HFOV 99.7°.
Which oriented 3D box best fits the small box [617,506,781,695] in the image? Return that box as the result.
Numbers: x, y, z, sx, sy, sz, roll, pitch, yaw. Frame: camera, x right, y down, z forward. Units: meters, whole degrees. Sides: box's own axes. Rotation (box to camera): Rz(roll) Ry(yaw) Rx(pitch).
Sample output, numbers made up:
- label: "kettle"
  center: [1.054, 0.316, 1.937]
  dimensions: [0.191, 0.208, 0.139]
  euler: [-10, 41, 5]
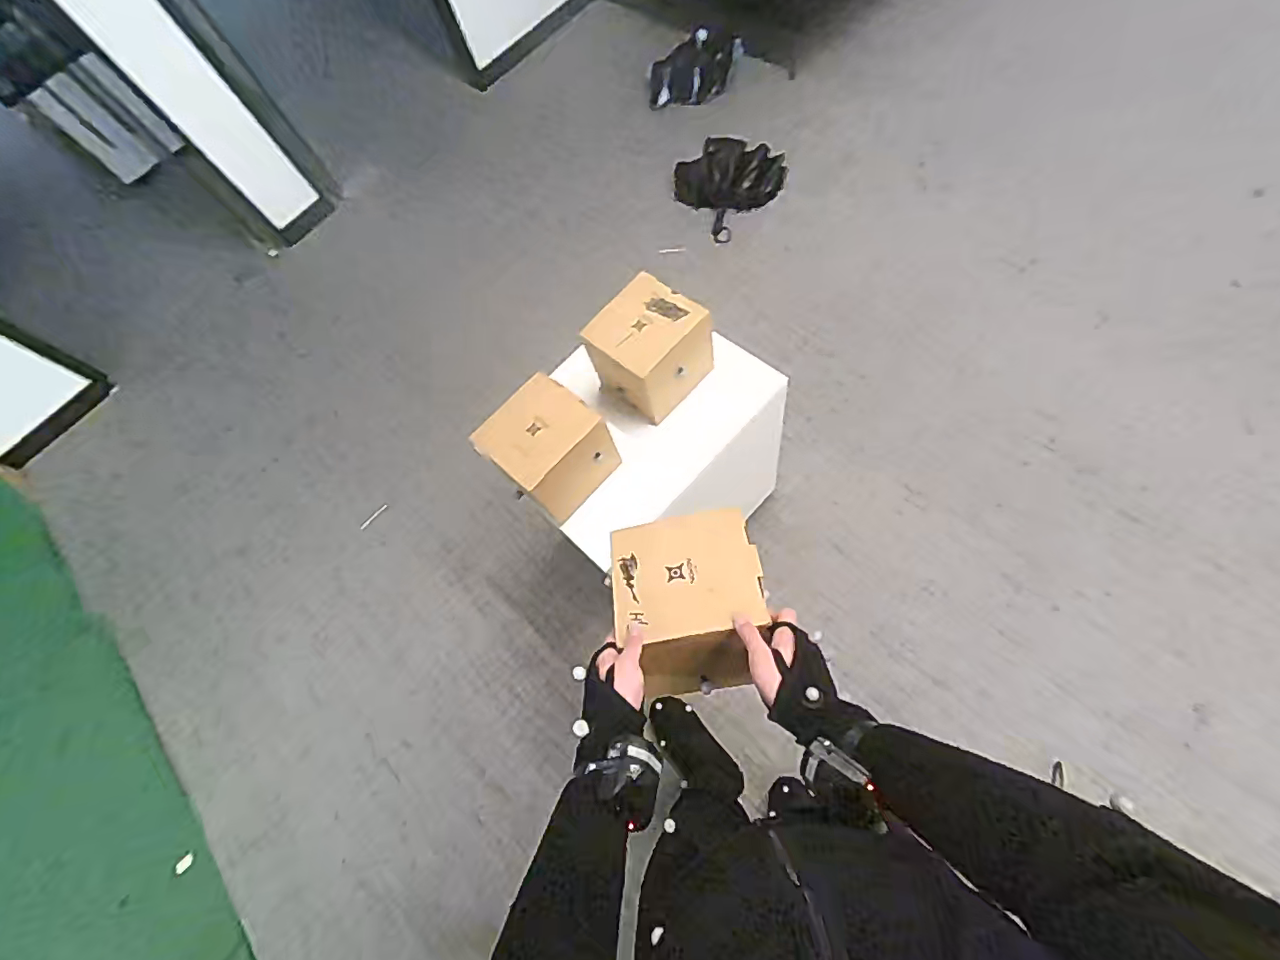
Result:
- label: "small box"
  center: [0.071, 0.158, 0.692]
  dimensions: [0.179, 0.176, 0.168]
  euler: [-9, 47, 4]

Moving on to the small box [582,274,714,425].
- label: "small box"
  center: [0.023, -0.239, 1.015]
  dimensions: [0.168, 0.176, 0.179]
  euler: [40, 79, 23]

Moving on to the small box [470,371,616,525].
- label: "small box"
  center: [-0.159, -0.053, 0.962]
  dimensions: [0.168, 0.176, 0.179]
  euler: [37, 76, 24]
